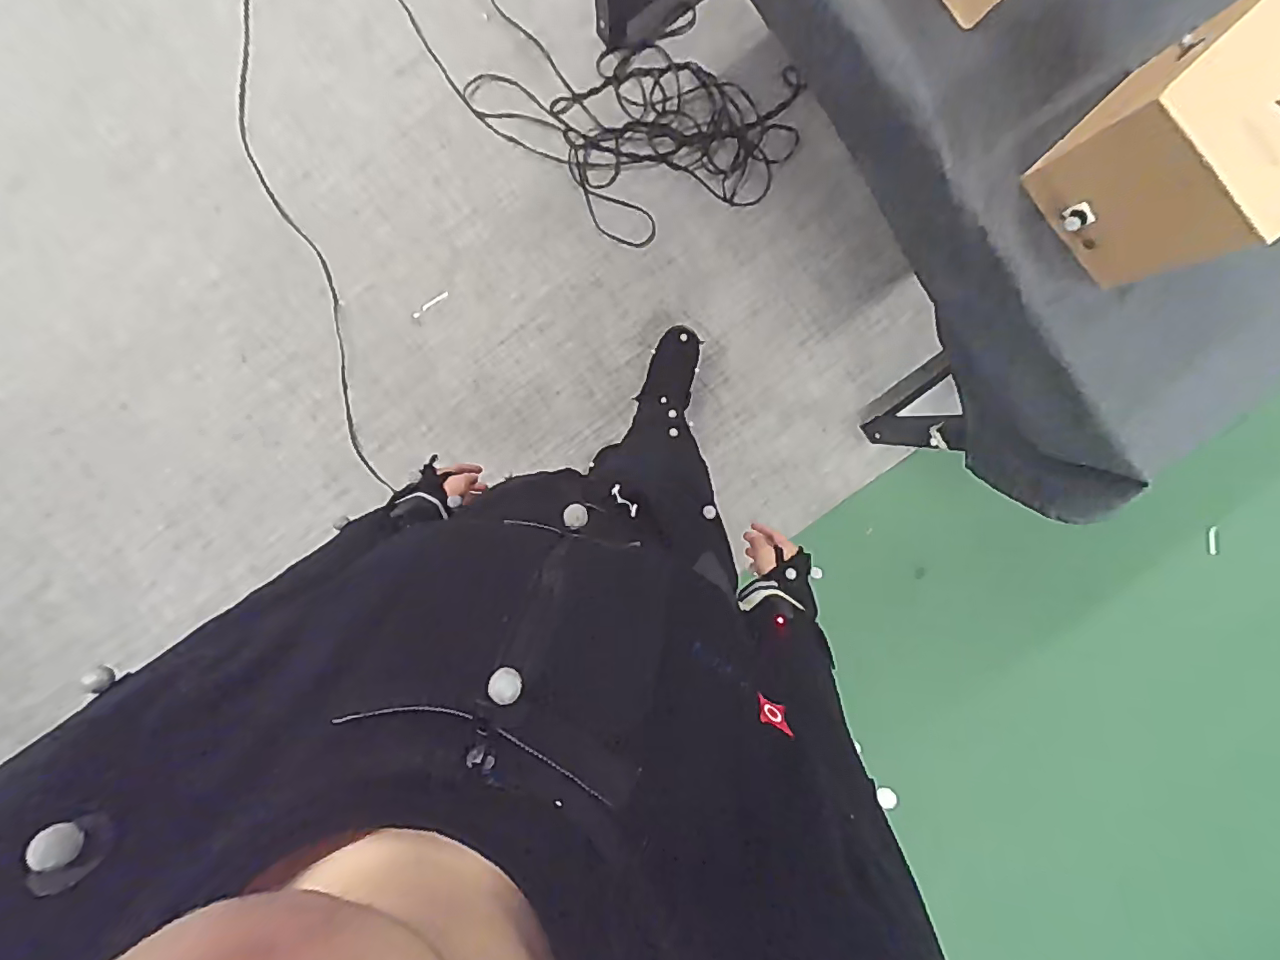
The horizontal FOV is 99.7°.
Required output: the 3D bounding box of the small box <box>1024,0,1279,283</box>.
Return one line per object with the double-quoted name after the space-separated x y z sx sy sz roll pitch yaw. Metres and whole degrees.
0.545 -0.330 0.536 0.179 0.176 0.168 -44 95 3 "small box"
